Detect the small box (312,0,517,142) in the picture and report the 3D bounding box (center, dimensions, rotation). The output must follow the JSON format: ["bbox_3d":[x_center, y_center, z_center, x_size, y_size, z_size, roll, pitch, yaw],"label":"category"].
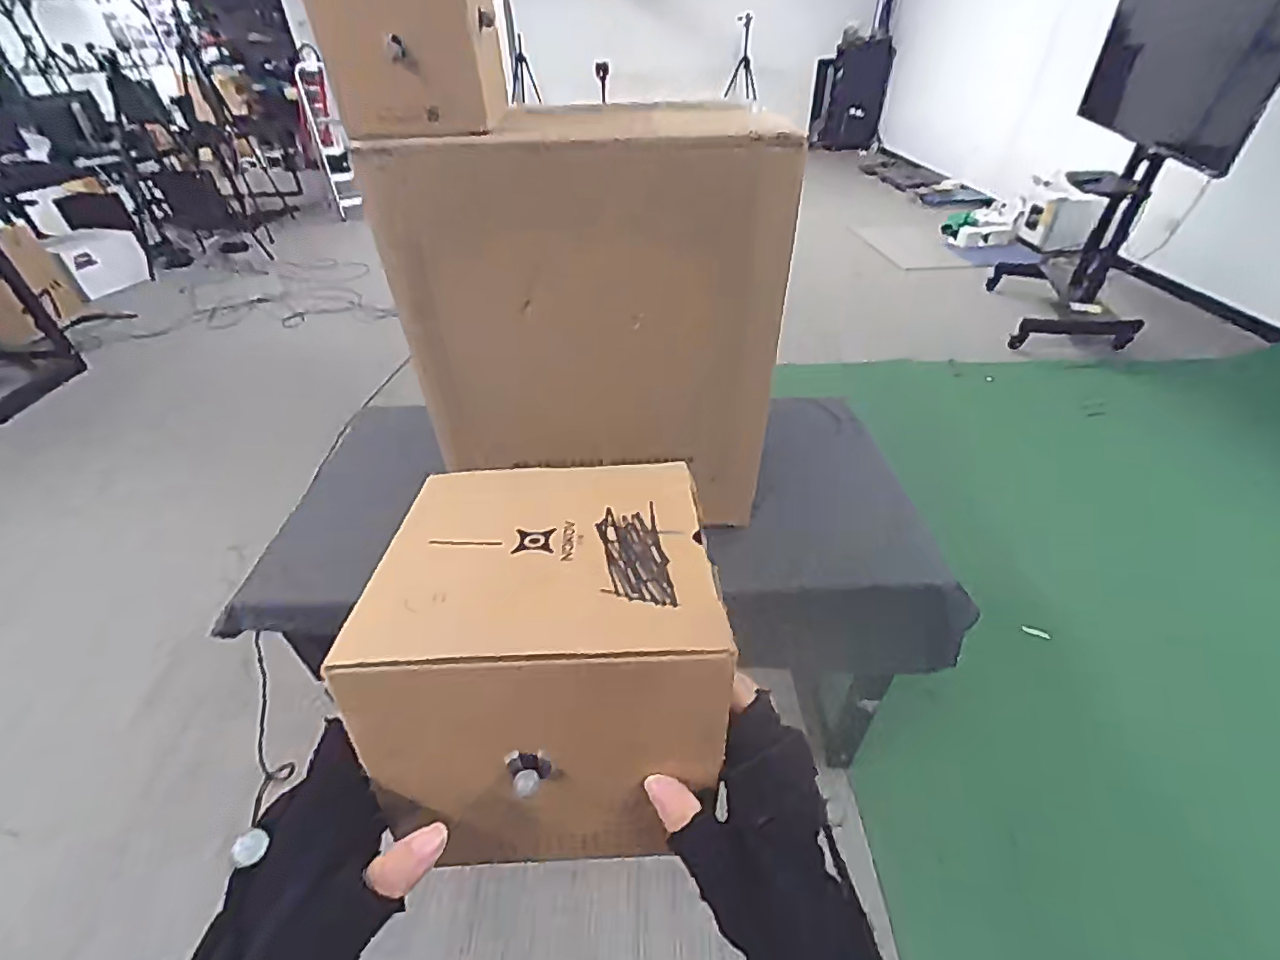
[{"bbox_3d":[-0.248,-0.506,0.633,0.168,0.176,0.179,-2,42,0],"label":"small box"}]

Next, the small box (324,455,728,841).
[{"bbox_3d":[-0.050,0.098,0.340,0.179,0.176,0.168,-1,30,-1],"label":"small box"}]
